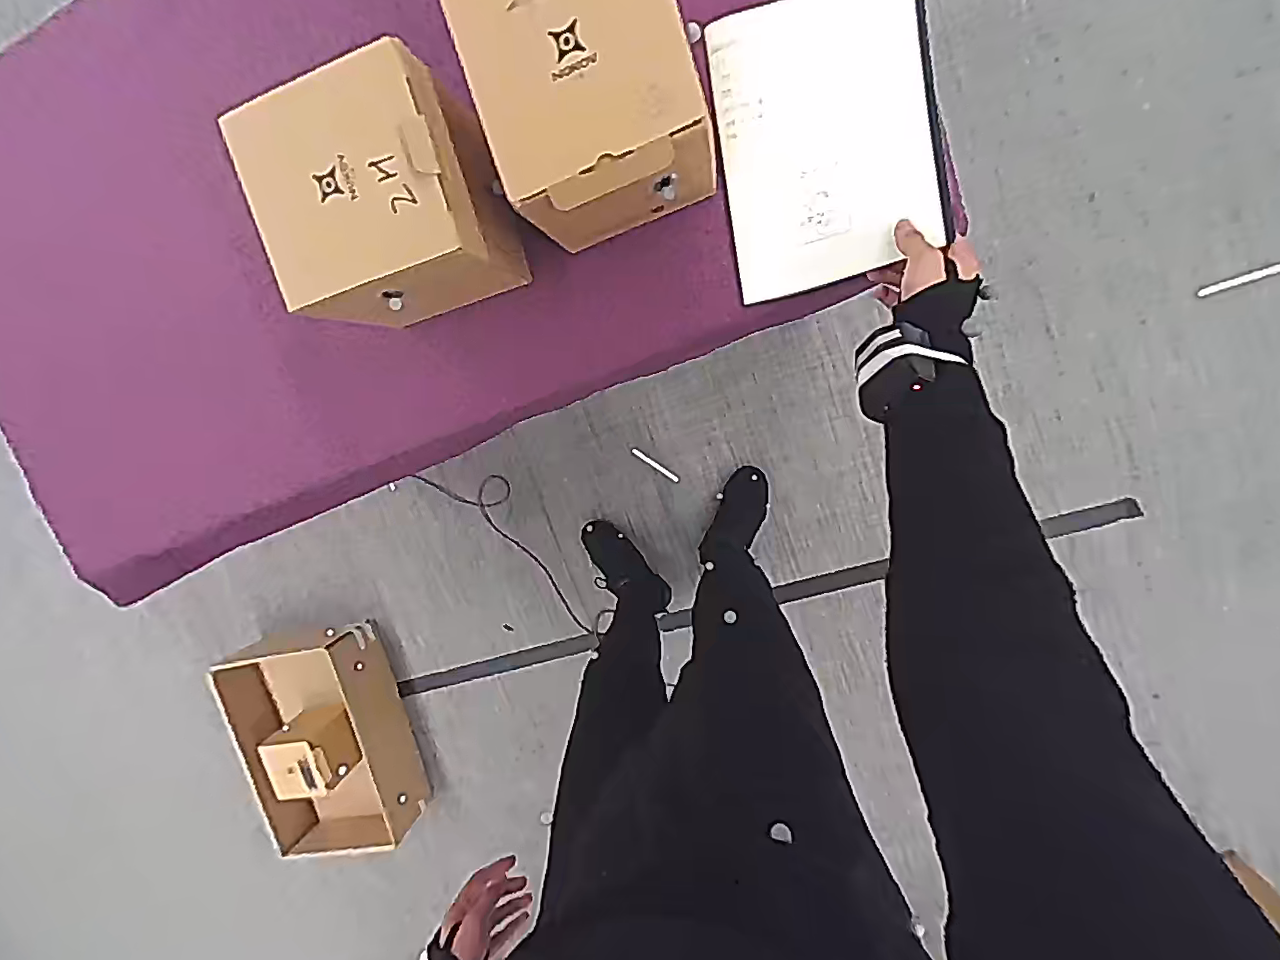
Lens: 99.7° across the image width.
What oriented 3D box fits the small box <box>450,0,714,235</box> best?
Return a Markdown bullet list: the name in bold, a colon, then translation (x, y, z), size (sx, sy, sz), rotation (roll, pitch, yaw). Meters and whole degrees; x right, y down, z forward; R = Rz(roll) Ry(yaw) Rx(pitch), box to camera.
- **small box**: translation (-0.035, -0.338, 0.477), size (0.168, 0.176, 0.179), rotation (-17, 97, 11)
